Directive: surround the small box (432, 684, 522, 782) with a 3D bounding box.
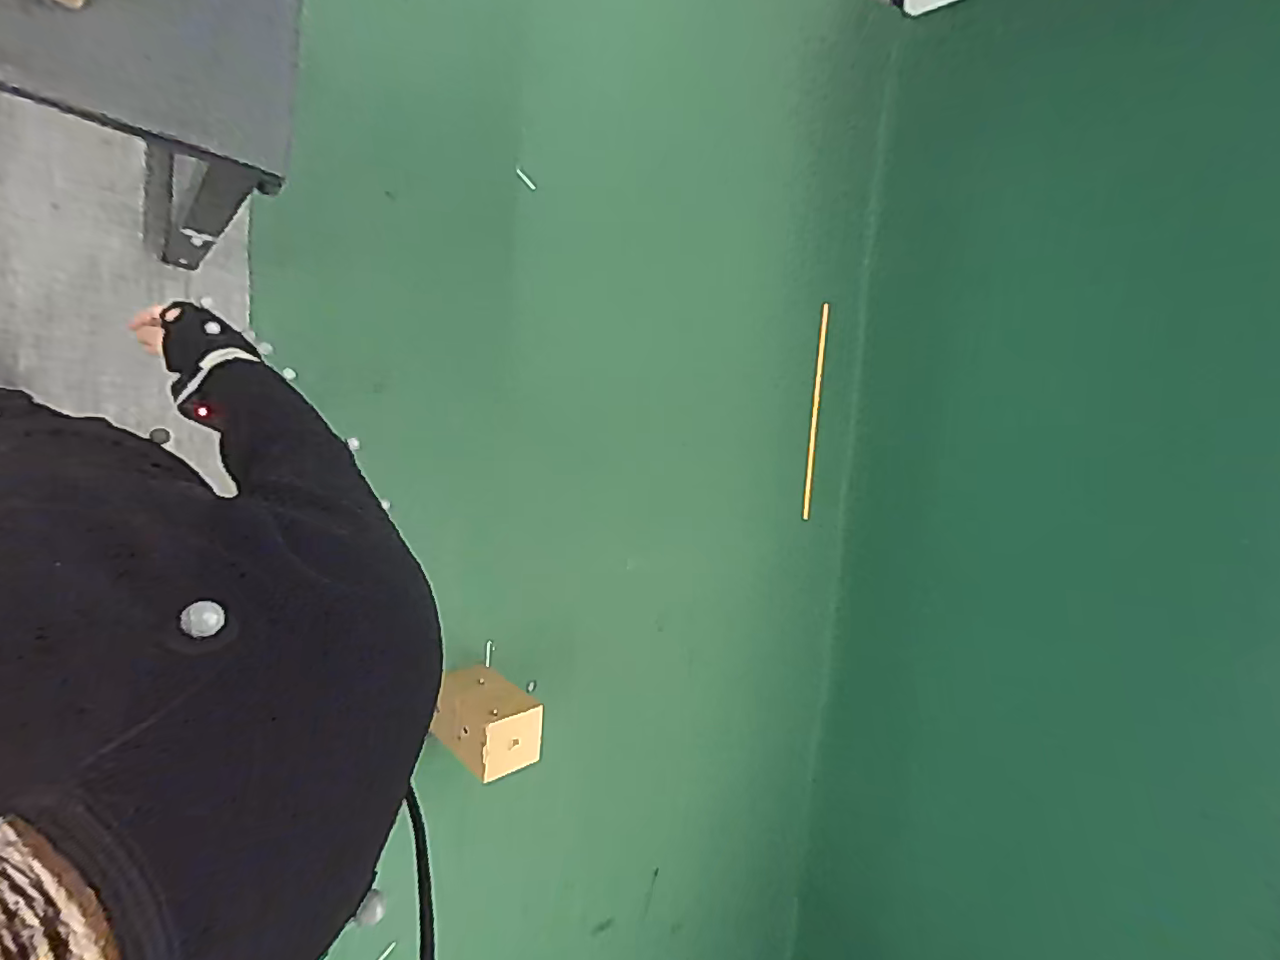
[{"bbox_3d":[-0.454,0.692,1.506,0.179,0.176,0.168,-1,97,-48],"label":"small box"}]

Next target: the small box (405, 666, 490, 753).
[{"bbox_3d":[-0.574,0.673,1.613,0.179,0.176,0.168,1,95,-48],"label":"small box"}]
